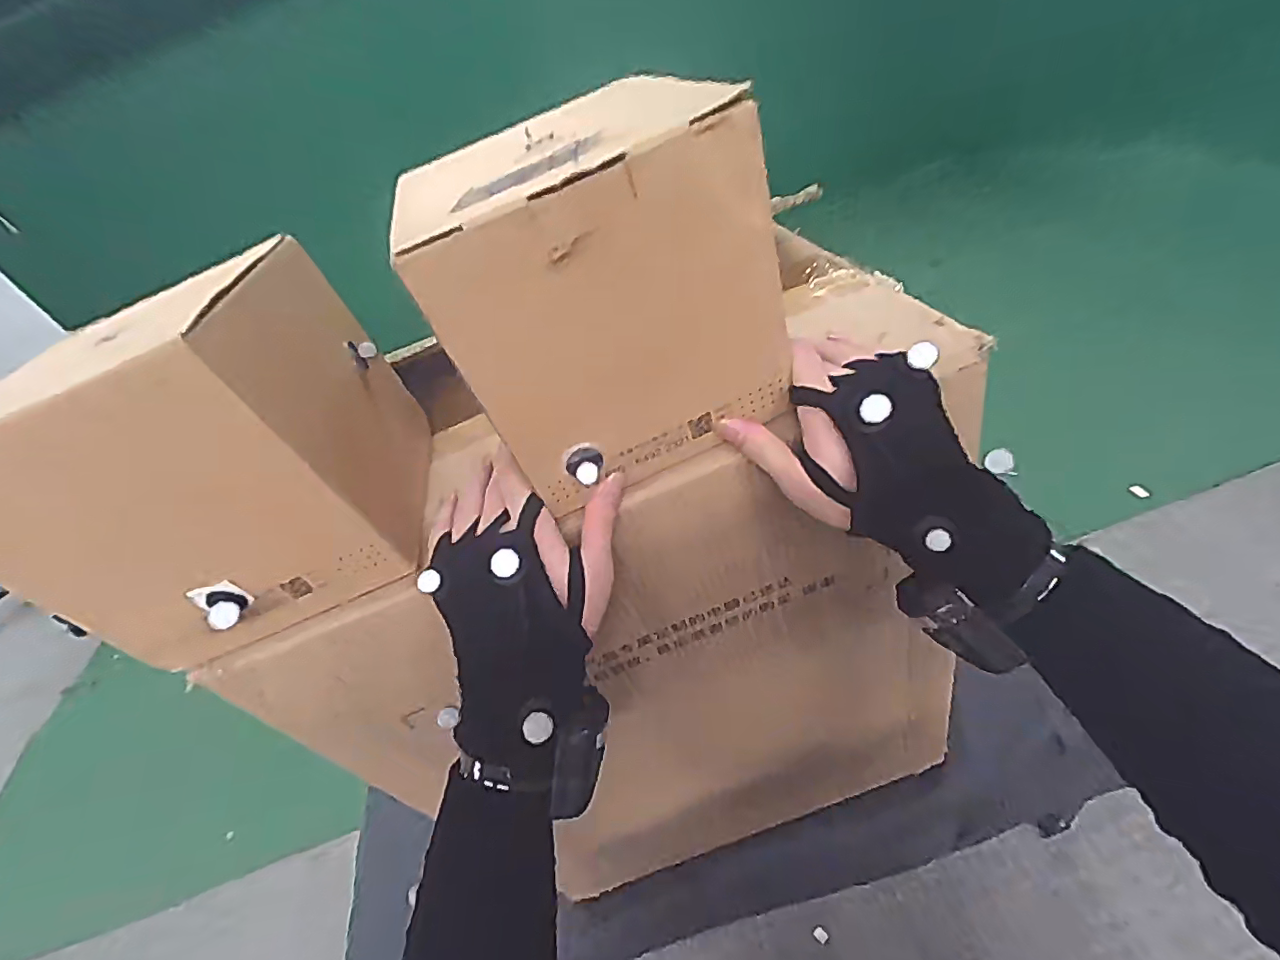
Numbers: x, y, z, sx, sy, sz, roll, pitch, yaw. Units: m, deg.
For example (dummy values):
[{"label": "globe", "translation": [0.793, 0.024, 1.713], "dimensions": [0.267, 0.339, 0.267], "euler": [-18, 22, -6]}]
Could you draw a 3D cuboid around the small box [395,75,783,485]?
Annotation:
[{"label": "small box", "translation": [-0.028, -0.119, 0.338], "dimensions": [0.168, 0.176, 0.179], "euler": [-25, 42, -3]}]

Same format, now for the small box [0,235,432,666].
[{"label": "small box", "translation": [-0.250, -0.020, 0.340], "dimensions": [0.168, 0.176, 0.179], "euler": [-26, 41, 1]}]
